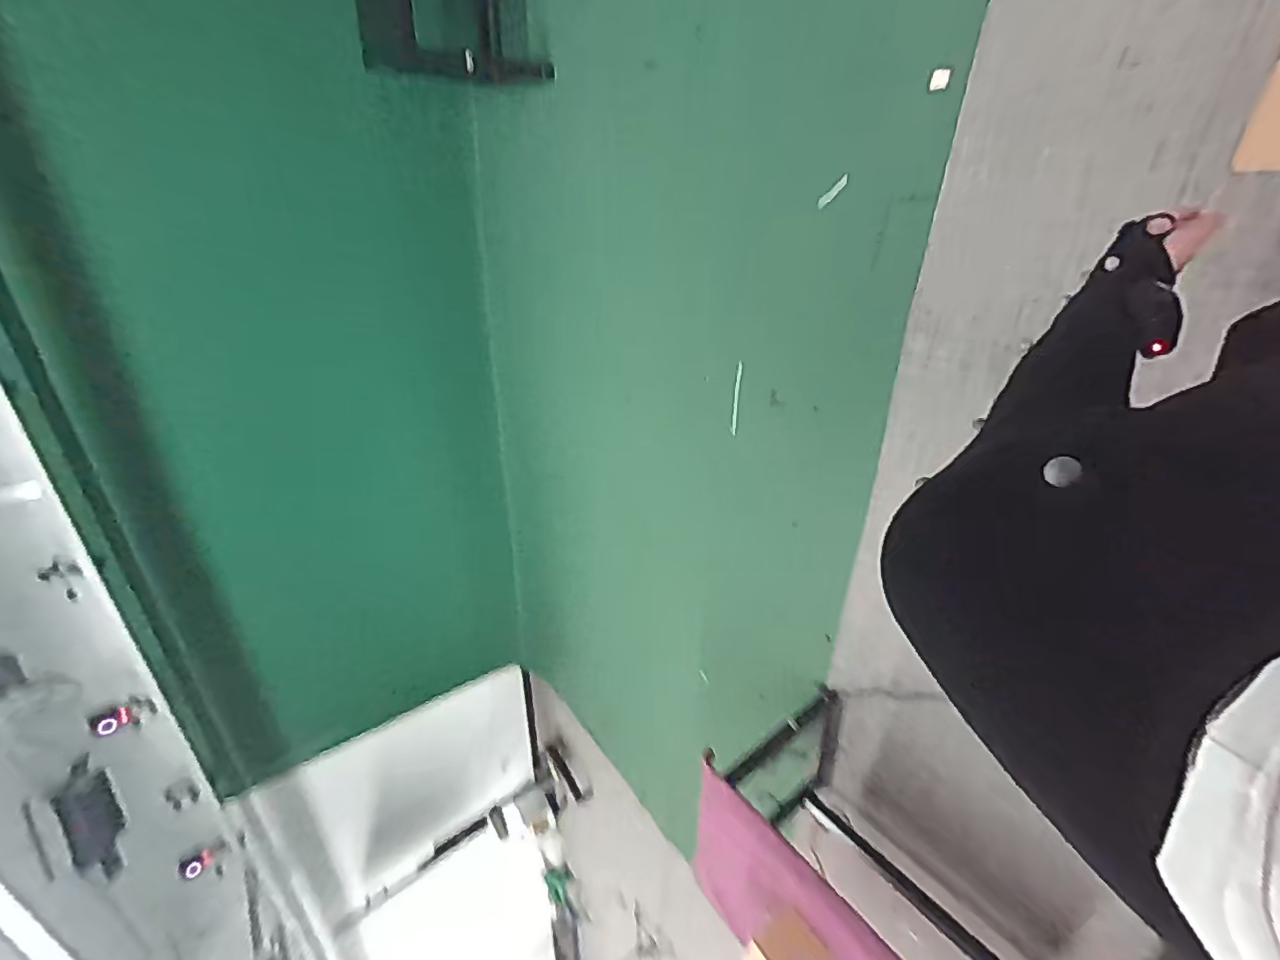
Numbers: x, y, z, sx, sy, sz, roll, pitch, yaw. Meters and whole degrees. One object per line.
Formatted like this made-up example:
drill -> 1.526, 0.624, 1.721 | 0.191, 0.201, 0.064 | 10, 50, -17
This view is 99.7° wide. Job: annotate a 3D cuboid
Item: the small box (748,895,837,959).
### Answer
small box -> 0.452, 1.393, 1.601 | 0.179, 0.176, 0.168 | 38, 134, 41
